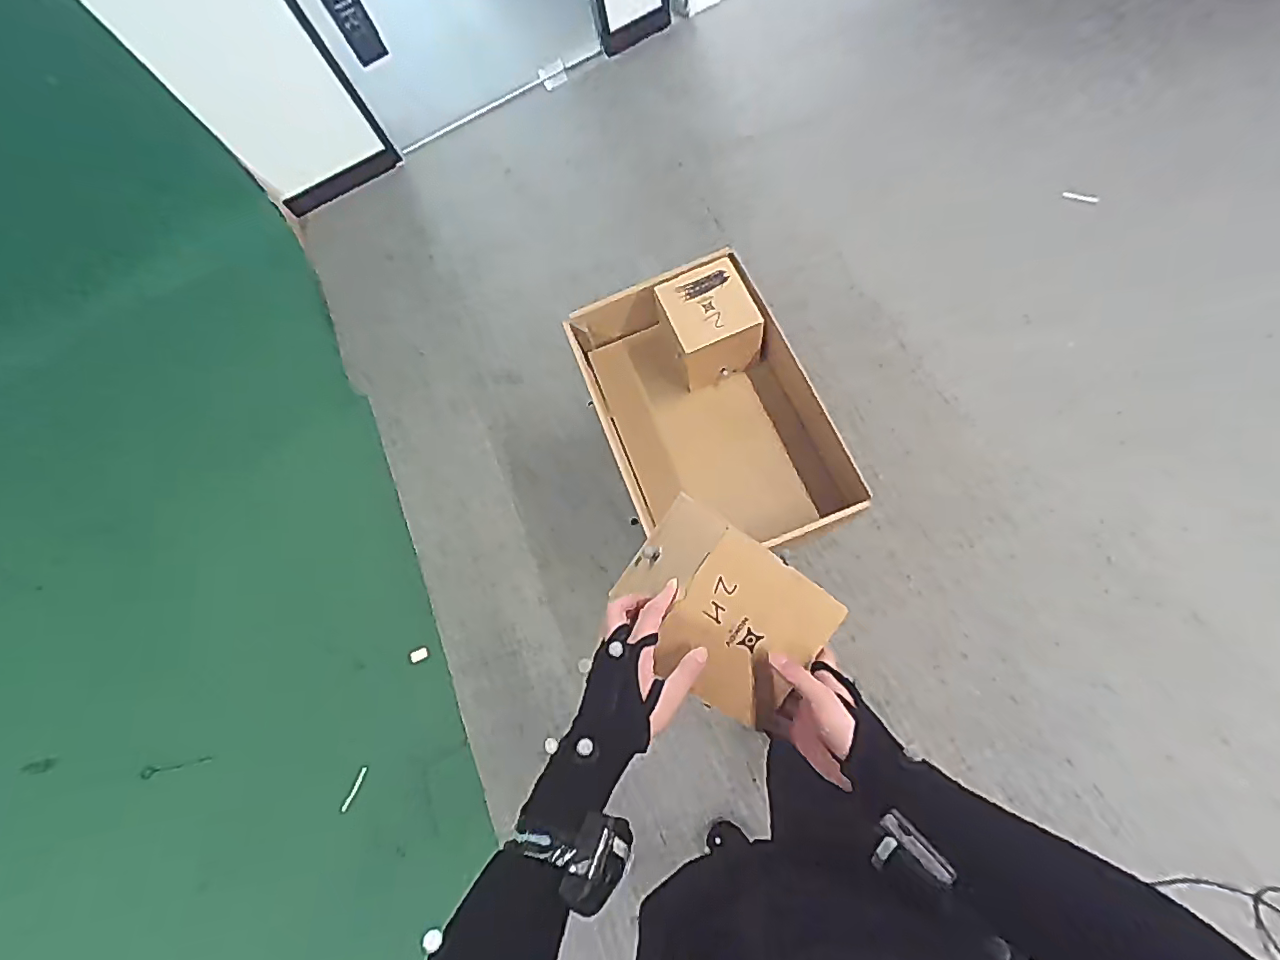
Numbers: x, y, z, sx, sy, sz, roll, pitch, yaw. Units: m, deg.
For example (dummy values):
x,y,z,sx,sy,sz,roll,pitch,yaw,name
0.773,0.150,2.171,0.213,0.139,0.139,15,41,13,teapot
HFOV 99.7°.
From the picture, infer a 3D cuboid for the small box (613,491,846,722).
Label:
x,y,z,sx,sy,sz,roll,pitch,yaw,name
0.090,0.132,0.627,0.179,0.176,0.168,35,93,-15,small box
